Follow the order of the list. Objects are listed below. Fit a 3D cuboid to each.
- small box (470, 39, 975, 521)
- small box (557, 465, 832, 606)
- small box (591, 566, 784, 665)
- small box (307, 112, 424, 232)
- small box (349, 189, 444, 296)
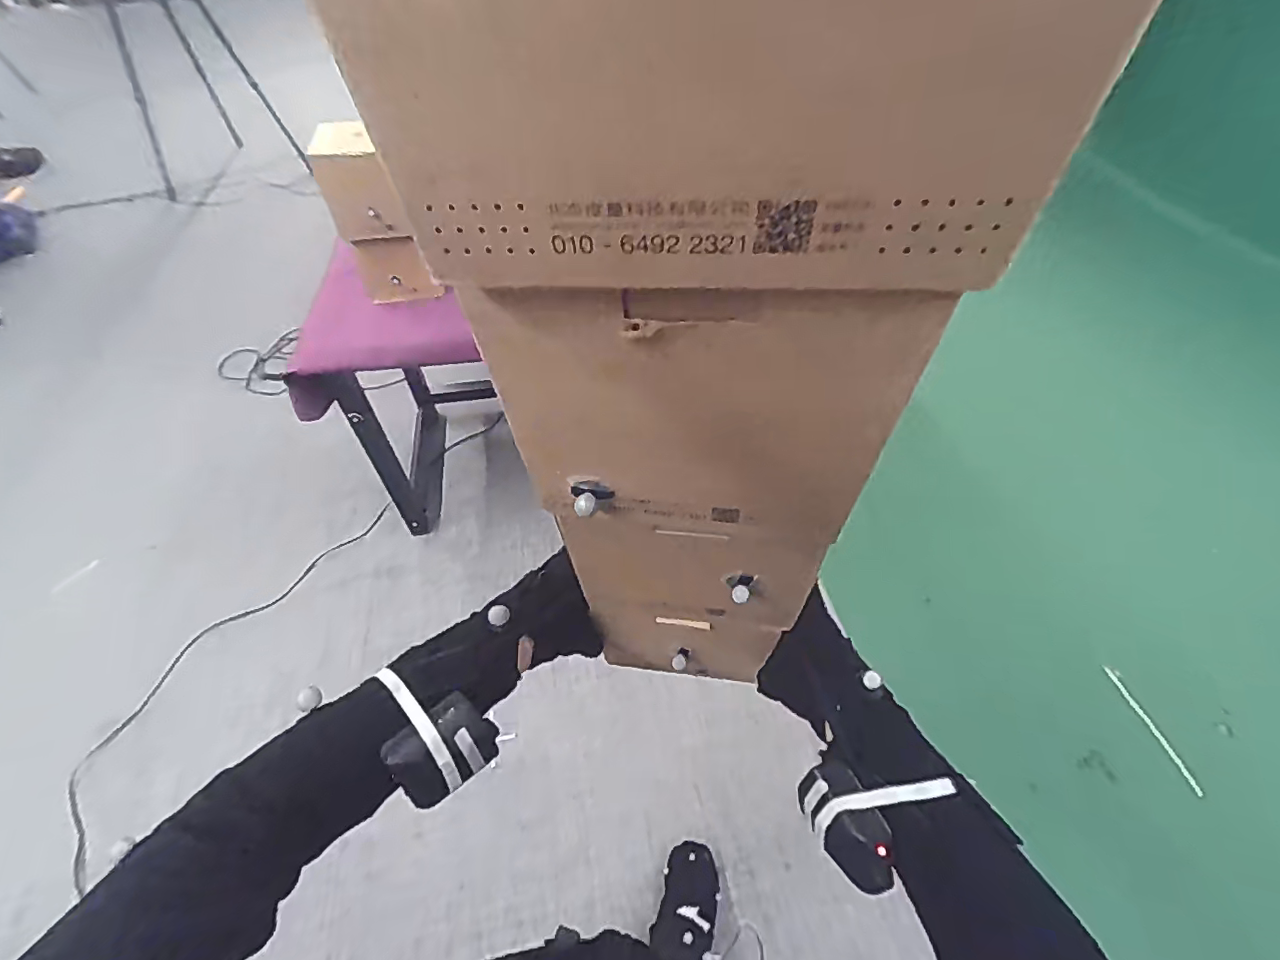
[{"bbox_3d":[0.038,-0.095,0.283,0.168,0.176,0.179,5,57,7],"label":"small box"},{"bbox_3d":[0.049,-0.018,0.409,0.168,0.176,0.179,4,56,7],"label":"small box"},{"bbox_3d":[0.052,0.082,0.561,0.168,0.176,0.179,2,56,6],"label":"small box"},{"bbox_3d":[-0.561,-0.645,1.133,0.168,0.176,0.179,-9,53,-8],"label":"small box"},{"bbox_3d":[-0.567,-0.560,1.275,0.168,0.176,0.179,-10,53,-10],"label":"small box"}]
